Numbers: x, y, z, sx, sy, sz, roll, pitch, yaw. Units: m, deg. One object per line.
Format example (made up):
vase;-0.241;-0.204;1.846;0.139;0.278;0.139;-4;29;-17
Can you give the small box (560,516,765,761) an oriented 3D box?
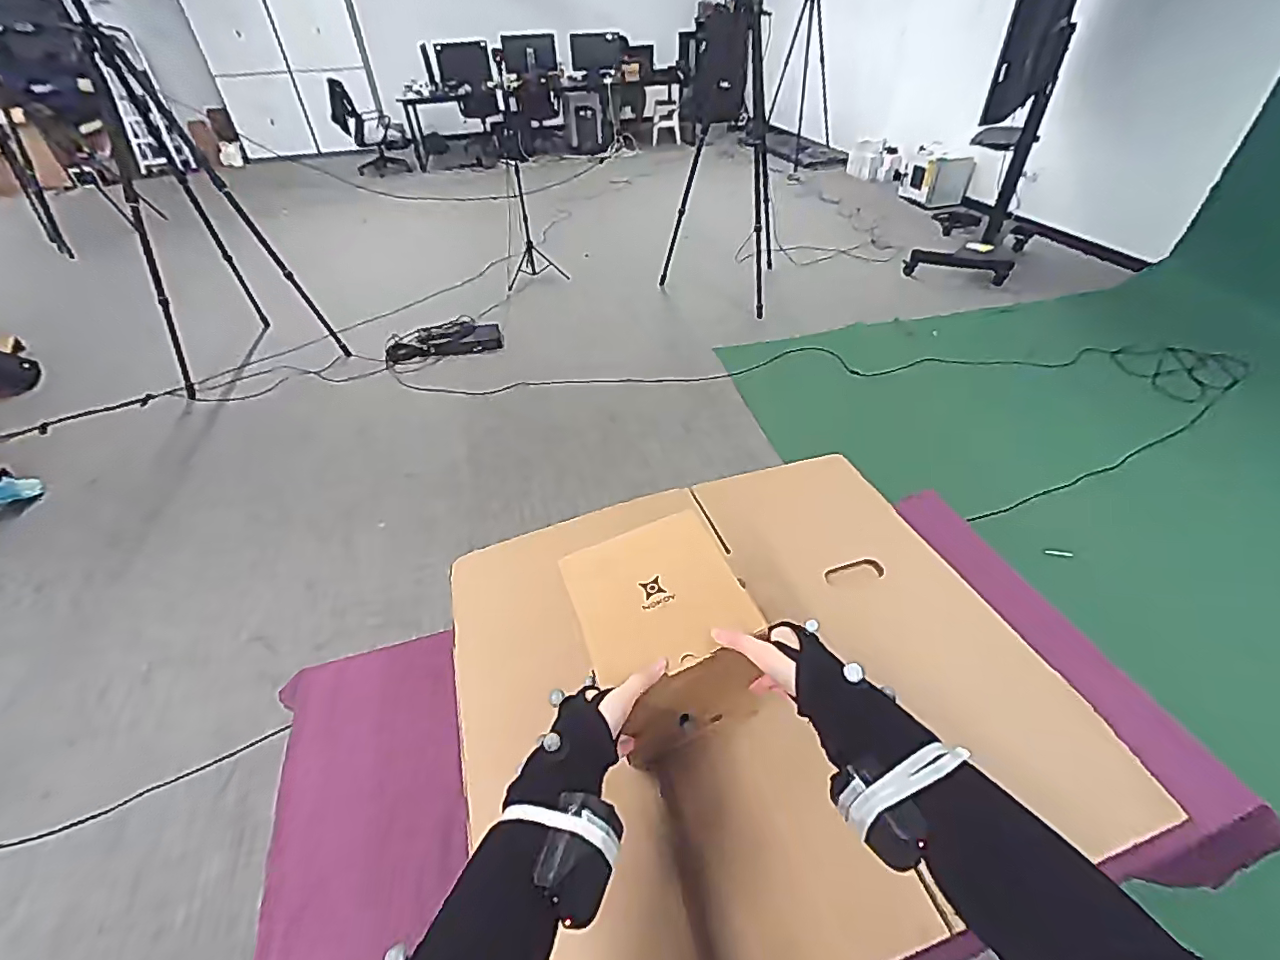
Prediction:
small box;0.024;0.178;0.611;0.168;0.176;0.179;-21;45;-10
